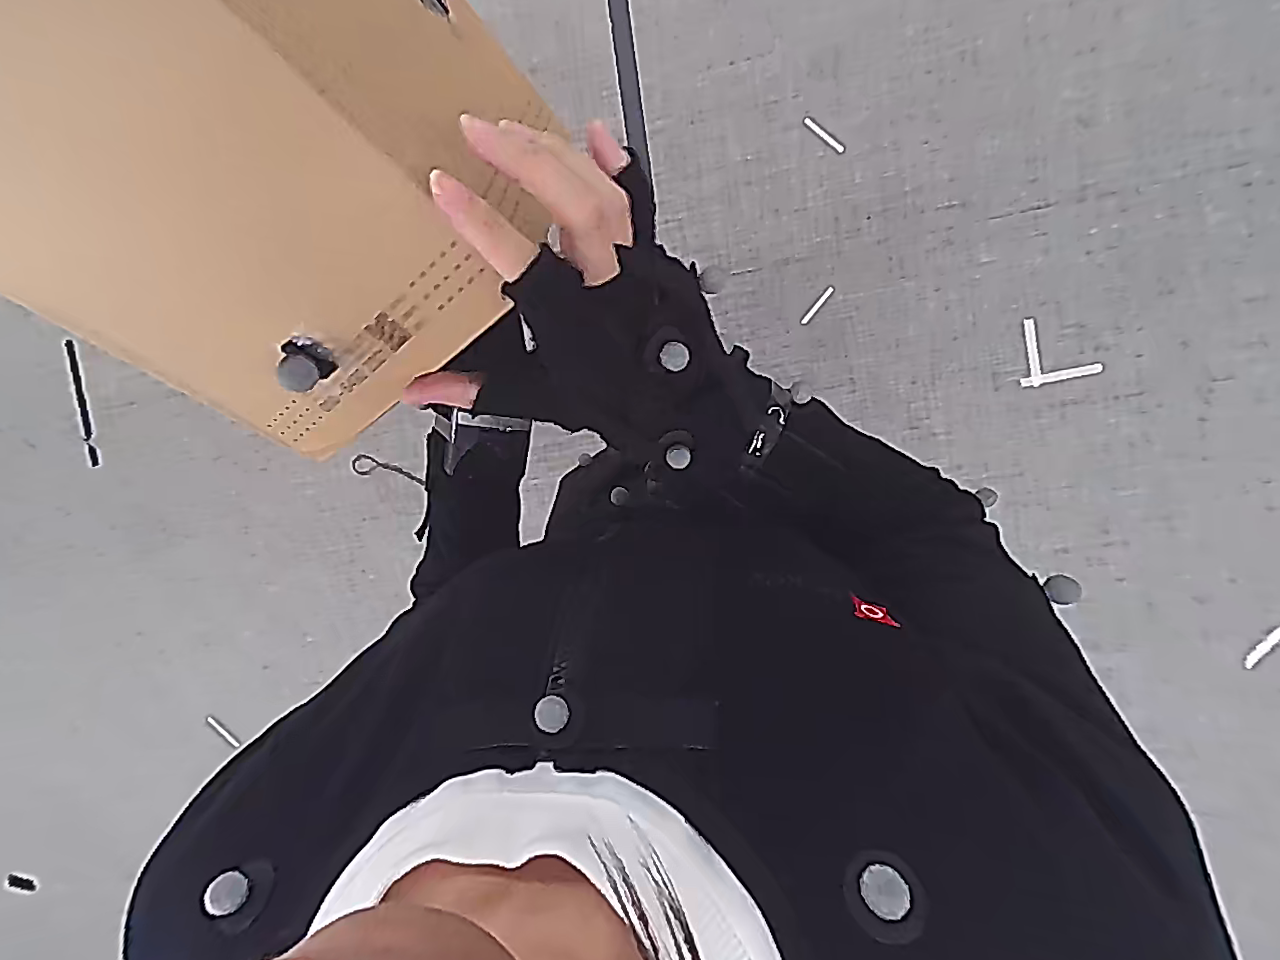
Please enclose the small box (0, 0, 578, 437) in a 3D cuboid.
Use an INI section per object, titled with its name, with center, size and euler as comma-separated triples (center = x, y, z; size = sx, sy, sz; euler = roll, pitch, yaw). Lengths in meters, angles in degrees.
[small box]
center = -0.150, -0.155, 0.272
size = 0.168, 0.179, 0.176
euler = -27, 132, 30
